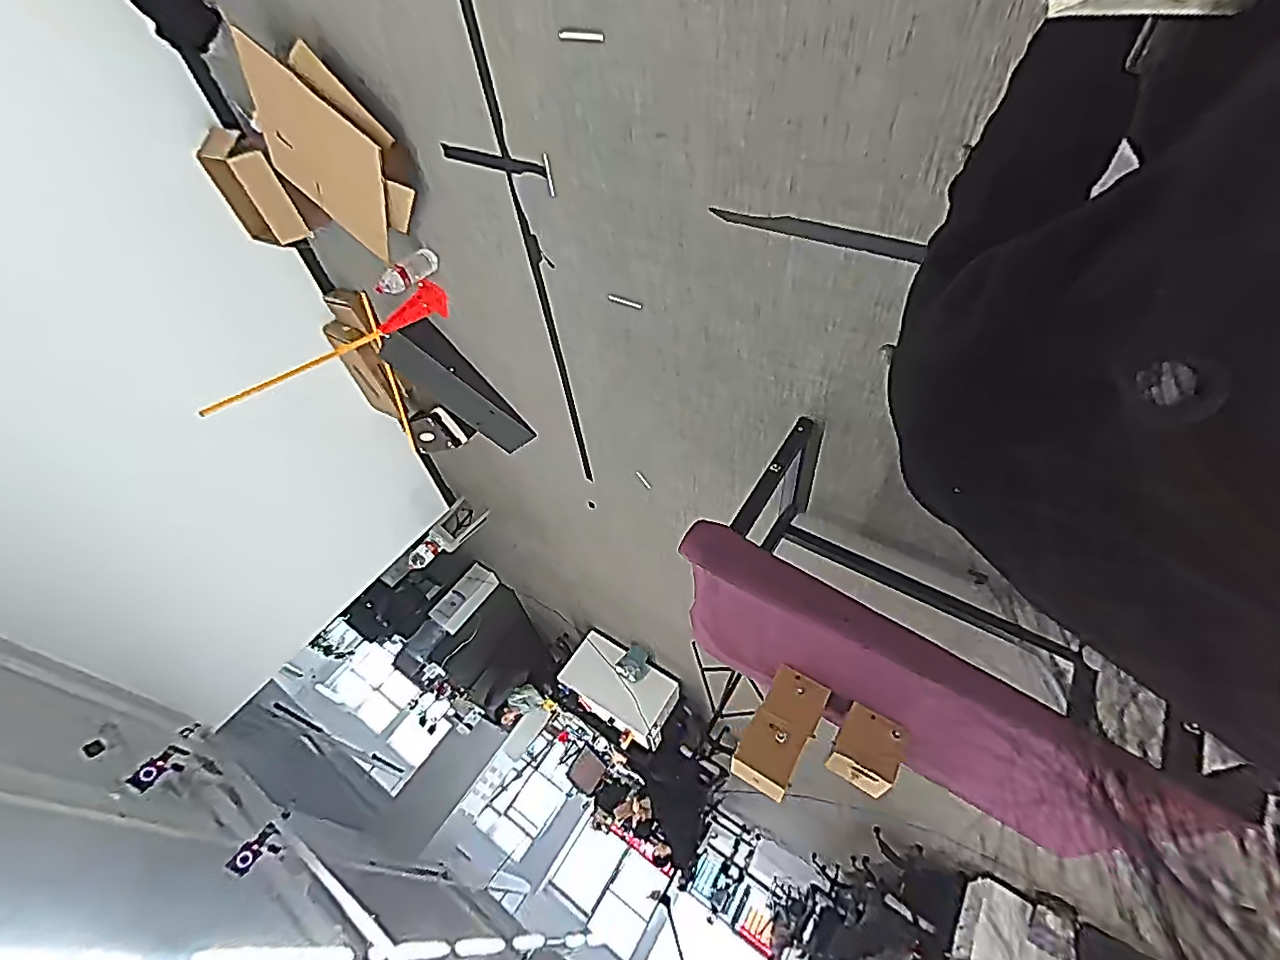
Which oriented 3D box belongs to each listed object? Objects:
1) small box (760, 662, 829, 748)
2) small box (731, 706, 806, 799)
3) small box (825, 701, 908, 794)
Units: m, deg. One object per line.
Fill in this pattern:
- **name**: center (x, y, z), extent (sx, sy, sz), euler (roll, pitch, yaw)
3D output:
- **small box**: center (0.483, 0.715, 1.716), extent (0.168, 0.176, 0.179), euler (24, 146, 23)
- **small box**: center (0.390, 0.825, 1.641), extent (0.168, 0.176, 0.179), euler (22, 145, 25)
- **small box**: center (0.674, 0.791, 1.608), extent (0.168, 0.176, 0.179), euler (25, 147, 24)
